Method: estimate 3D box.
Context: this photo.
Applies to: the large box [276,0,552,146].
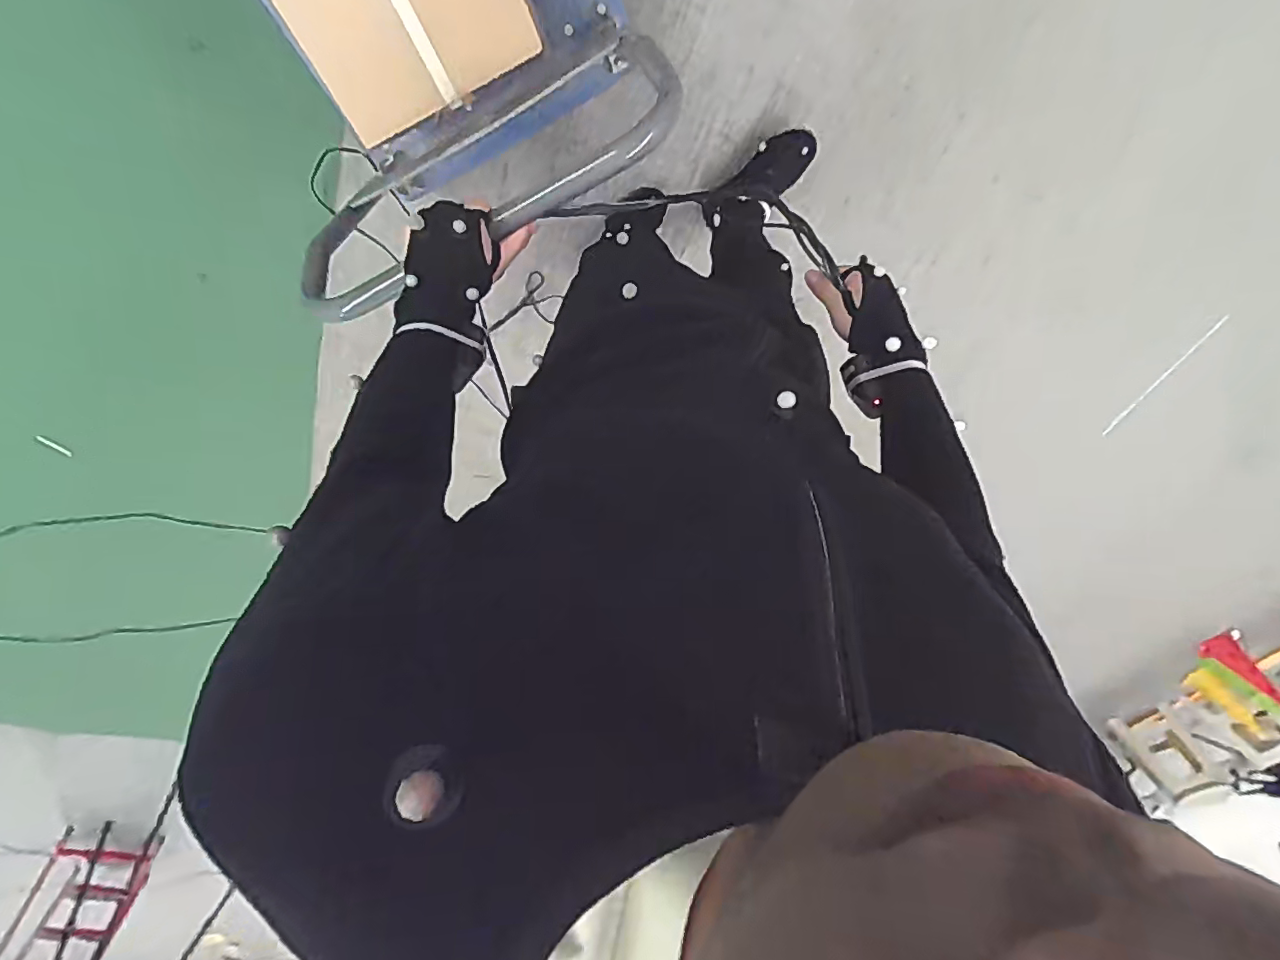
[{"bbox_3d":[-0.369,-0.803,0.821,0.320,0.320,0.408,-22,126,10],"label":"large box"}]
